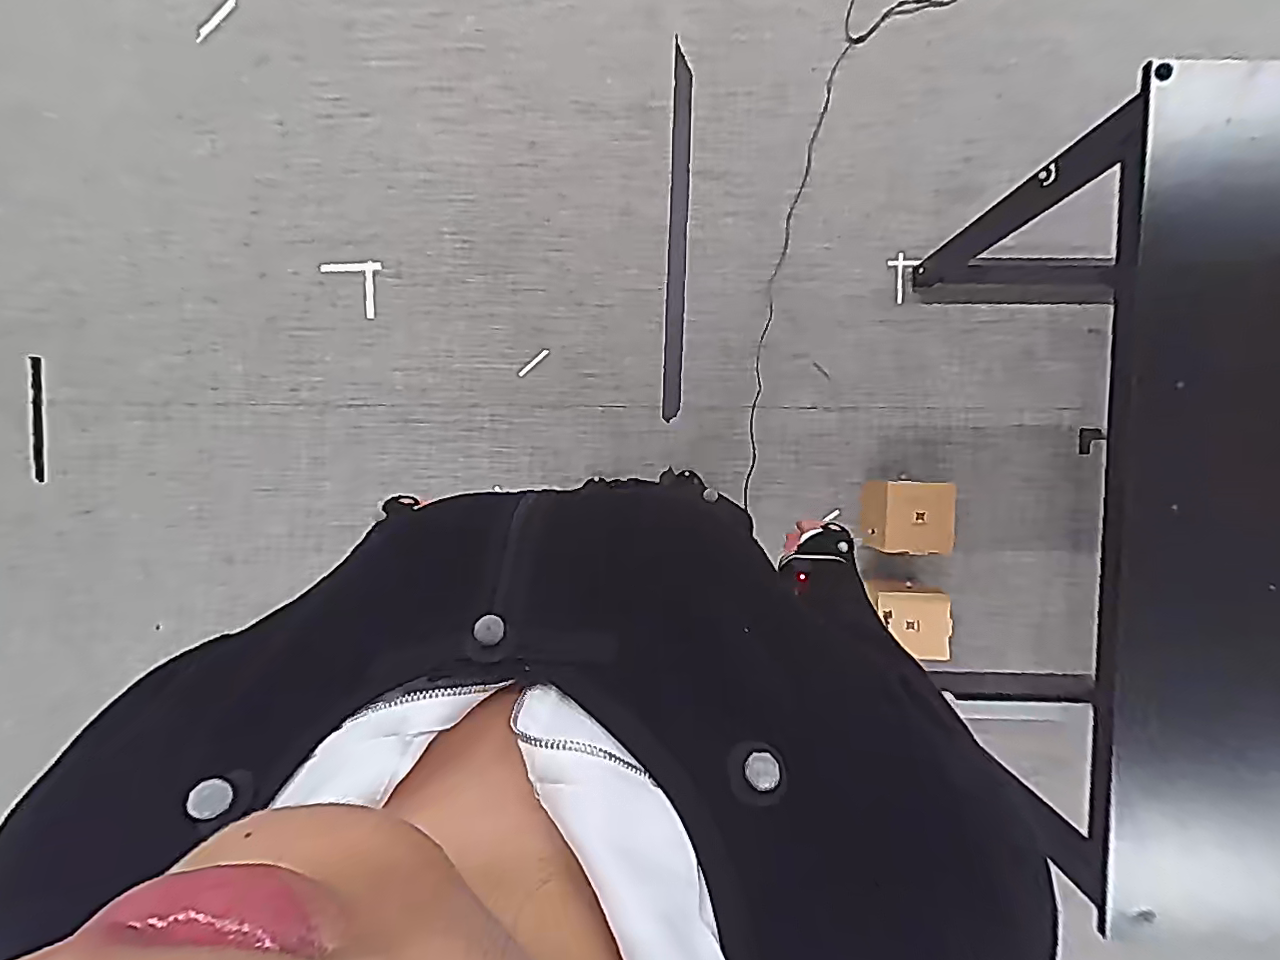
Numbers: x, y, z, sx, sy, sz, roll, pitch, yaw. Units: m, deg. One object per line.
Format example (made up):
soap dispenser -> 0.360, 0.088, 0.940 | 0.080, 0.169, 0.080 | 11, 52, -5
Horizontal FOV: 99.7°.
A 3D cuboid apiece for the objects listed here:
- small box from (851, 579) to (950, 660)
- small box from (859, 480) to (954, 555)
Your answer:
small box -> 0.667, 0.354, 1.395 | 0.179, 0.176, 0.168 | 1, 90, 2
small box -> 0.678, 0.091, 1.392 | 0.168, 0.176, 0.179 | 1, 90, 2
